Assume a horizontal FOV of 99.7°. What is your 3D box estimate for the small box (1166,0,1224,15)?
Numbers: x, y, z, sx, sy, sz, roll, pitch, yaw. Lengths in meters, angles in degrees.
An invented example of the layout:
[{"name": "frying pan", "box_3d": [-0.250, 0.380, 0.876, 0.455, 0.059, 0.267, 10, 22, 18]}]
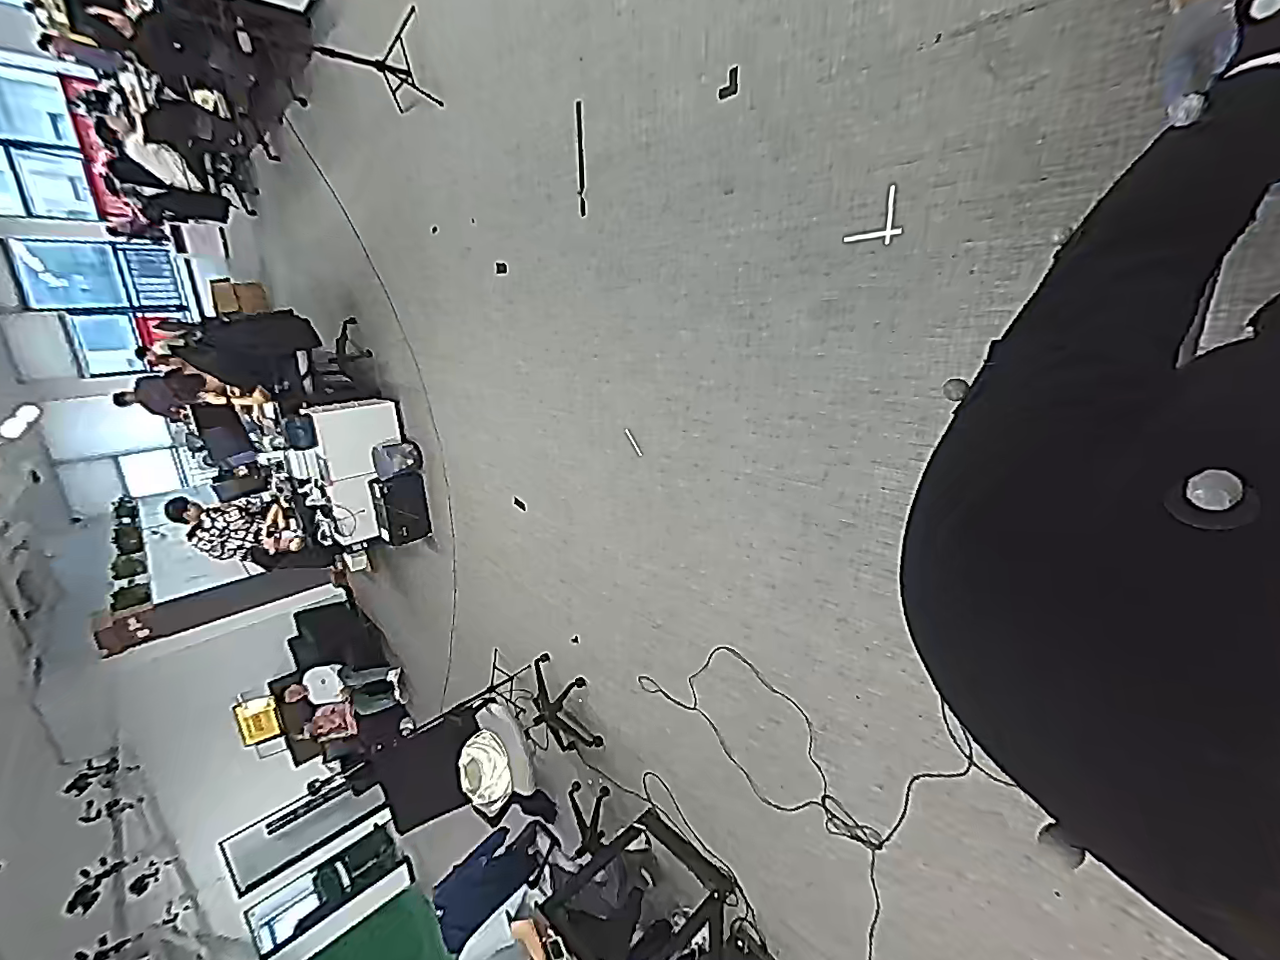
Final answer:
[{"name": "small box", "box_3d": [0.831, -0.774, 0.720, 0.179, 0.176, 0.168, 11, 111, 44]}]
